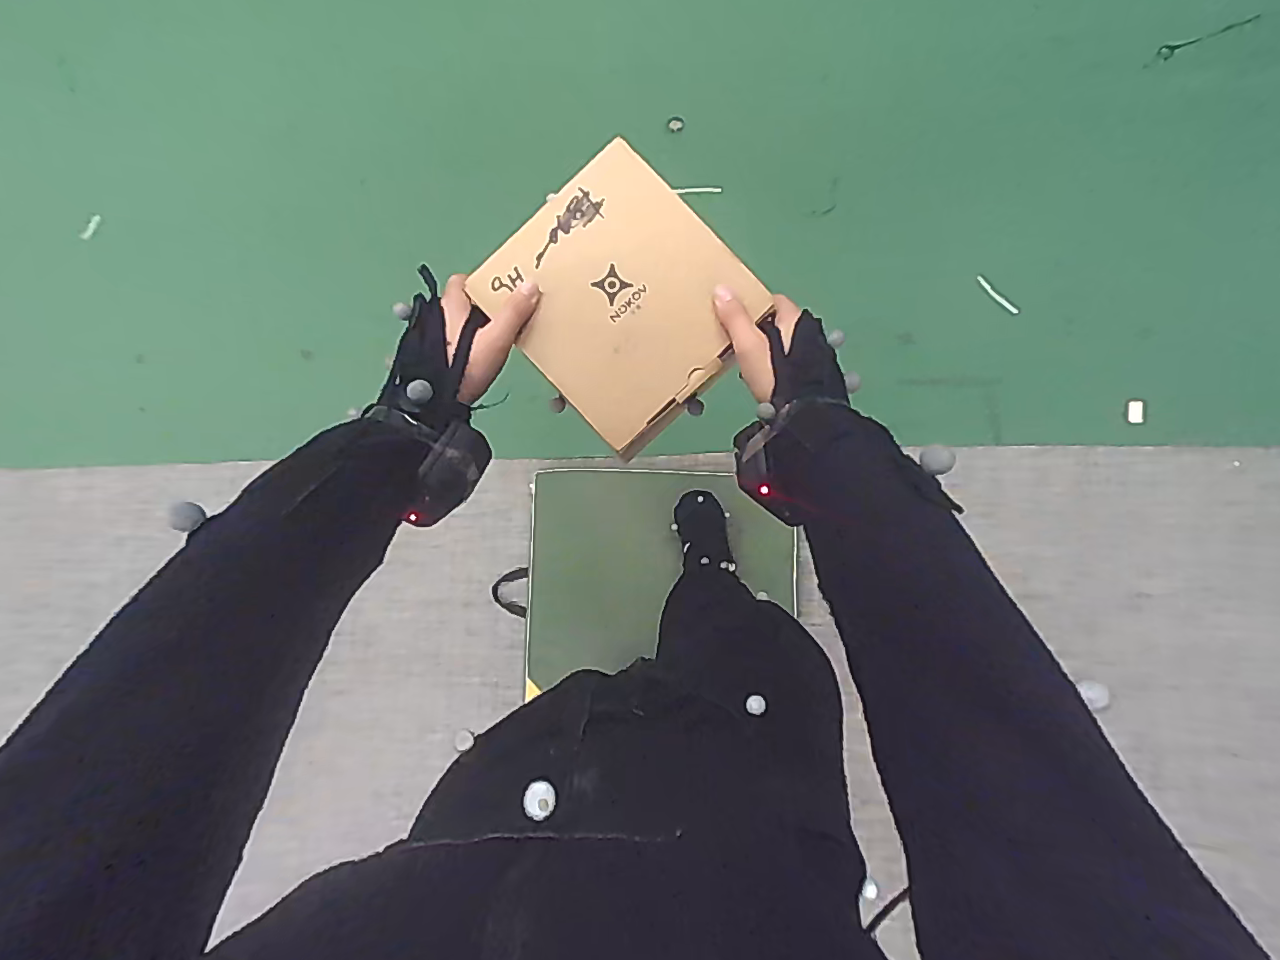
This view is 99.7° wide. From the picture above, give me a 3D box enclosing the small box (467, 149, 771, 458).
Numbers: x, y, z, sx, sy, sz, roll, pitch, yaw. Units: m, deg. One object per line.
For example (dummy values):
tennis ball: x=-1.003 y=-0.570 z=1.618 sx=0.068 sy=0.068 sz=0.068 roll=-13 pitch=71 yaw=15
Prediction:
small box: x=-0.015 y=-0.136 z=0.489 sx=0.168 sy=0.176 sz=0.179 roll=-43 pitch=90 yaw=-1
